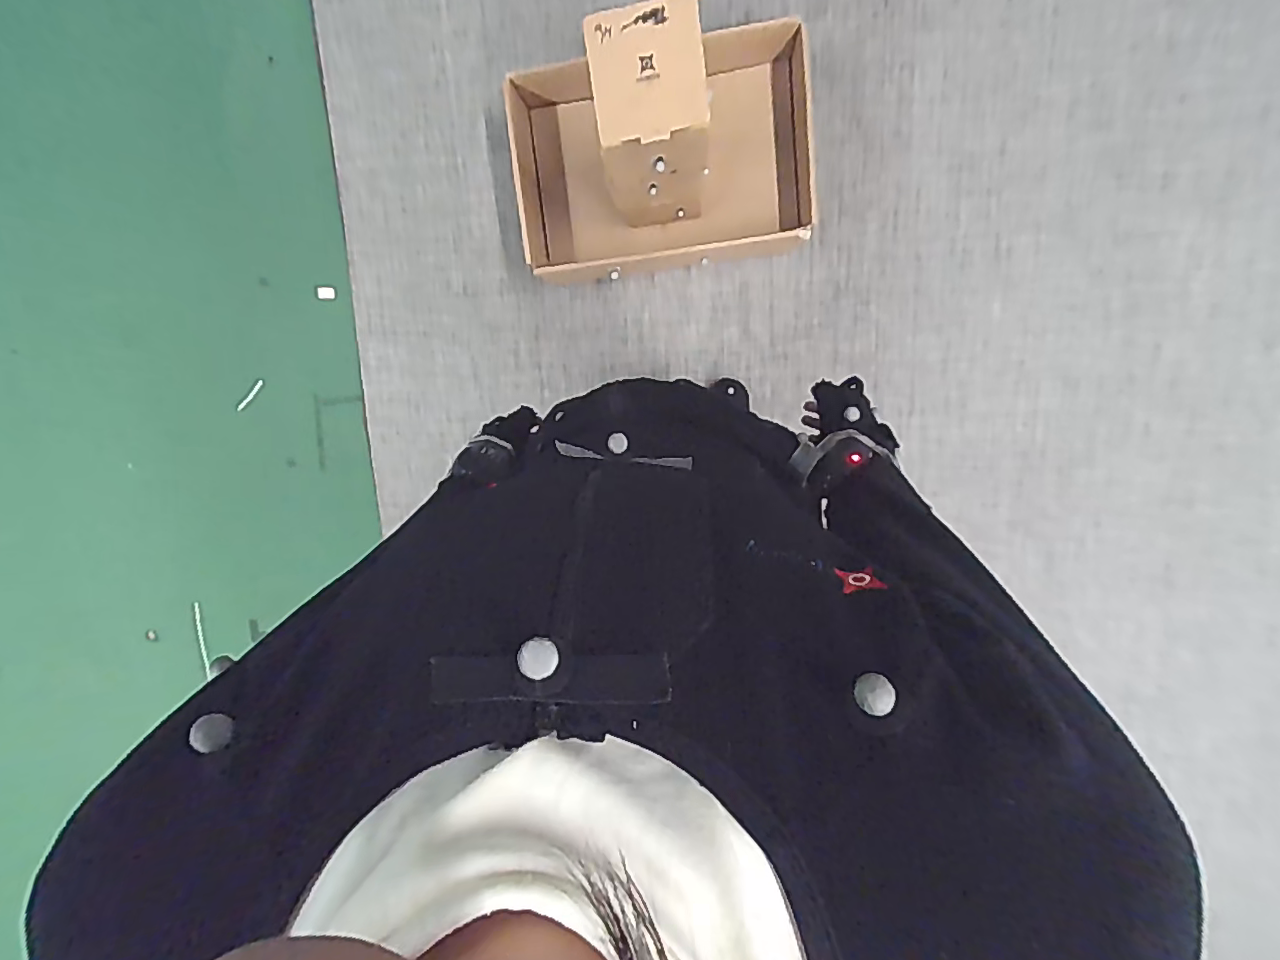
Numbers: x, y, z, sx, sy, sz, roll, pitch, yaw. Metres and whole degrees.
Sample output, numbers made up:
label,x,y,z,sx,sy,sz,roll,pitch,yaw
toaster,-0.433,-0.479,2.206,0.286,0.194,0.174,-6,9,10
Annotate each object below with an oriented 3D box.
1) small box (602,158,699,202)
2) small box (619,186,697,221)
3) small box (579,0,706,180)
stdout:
label,x,y,z,sx,sy,sz,roll,pitch,yaw
small box,0.021,-0.647,1.031,0.179,0.176,0.168,-4,100,8
small box,0.036,-0.680,1.174,0.168,0.176,0.179,-6,99,7
small box,0.014,-0.610,0.874,0.168,0.176,0.179,-9,99,9
